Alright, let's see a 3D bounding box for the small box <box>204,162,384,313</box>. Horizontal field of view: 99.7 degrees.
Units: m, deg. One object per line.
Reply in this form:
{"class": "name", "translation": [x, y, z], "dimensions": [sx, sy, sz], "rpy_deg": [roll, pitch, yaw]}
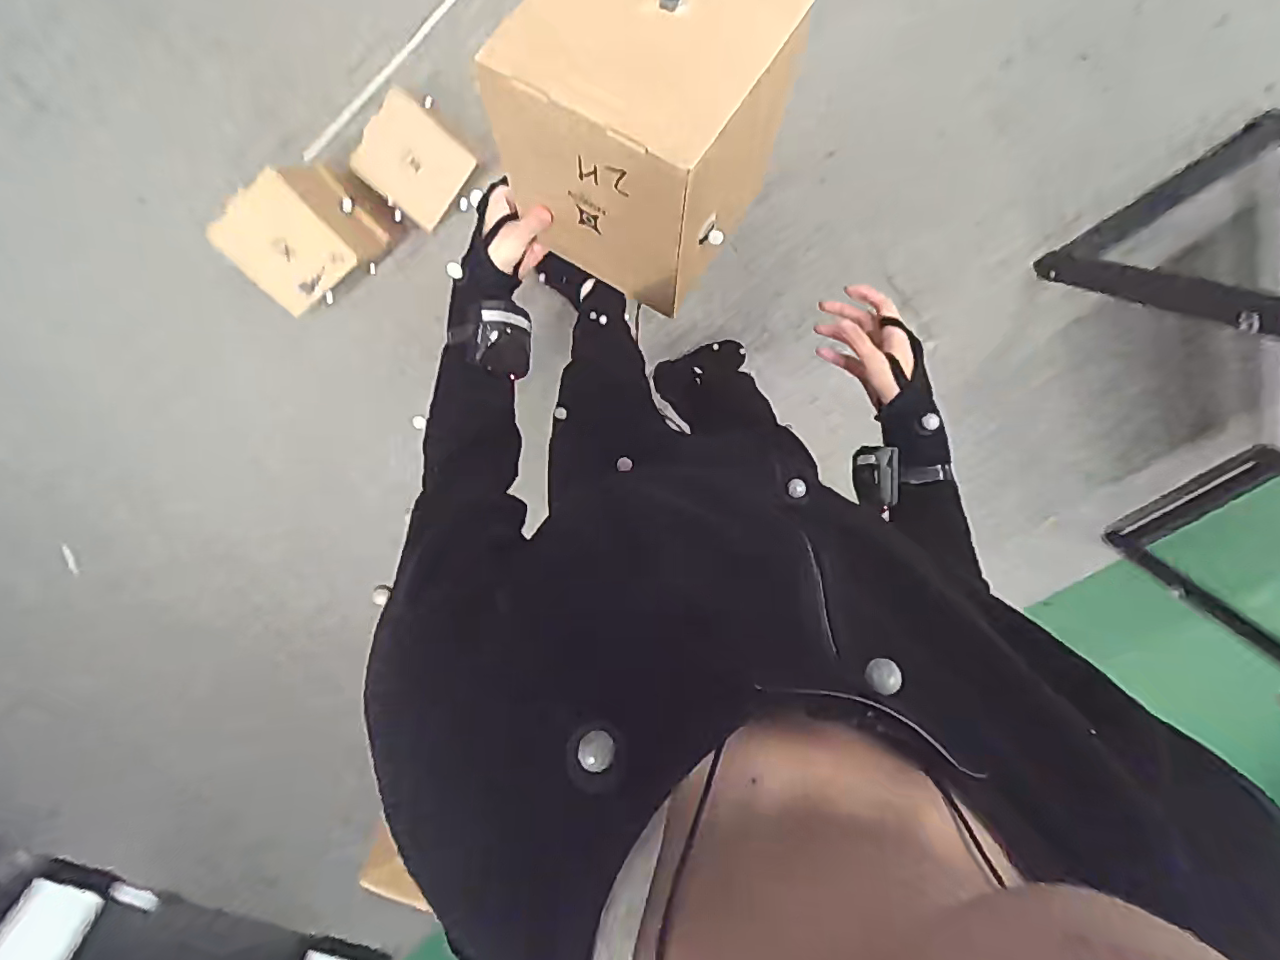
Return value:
{"class": "small box", "translation": [-0.600, -0.431, 0.963], "dimensions": [0.168, 0.176, 0.179], "rpy_deg": [-34, 118, 13]}

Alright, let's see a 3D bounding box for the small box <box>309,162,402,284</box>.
{"class": "small box", "translation": [-0.613, -0.518, 1.102], "dimensions": [0.179, 0.176, 0.168], "rpy_deg": [-35, 118, 14]}

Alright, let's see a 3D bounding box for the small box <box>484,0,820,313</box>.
{"class": "small box", "translation": [0.013, -0.274, 0.422], "dimensions": [0.168, 0.179, 0.176], "rpy_deg": [32, 78, 5]}

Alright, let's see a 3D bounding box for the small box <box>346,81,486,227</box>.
{"class": "small box", "translation": [-0.427, -0.630, 1.060], "dimensions": [0.179, 0.176, 0.168], "rpy_deg": [37, 111, -25]}
